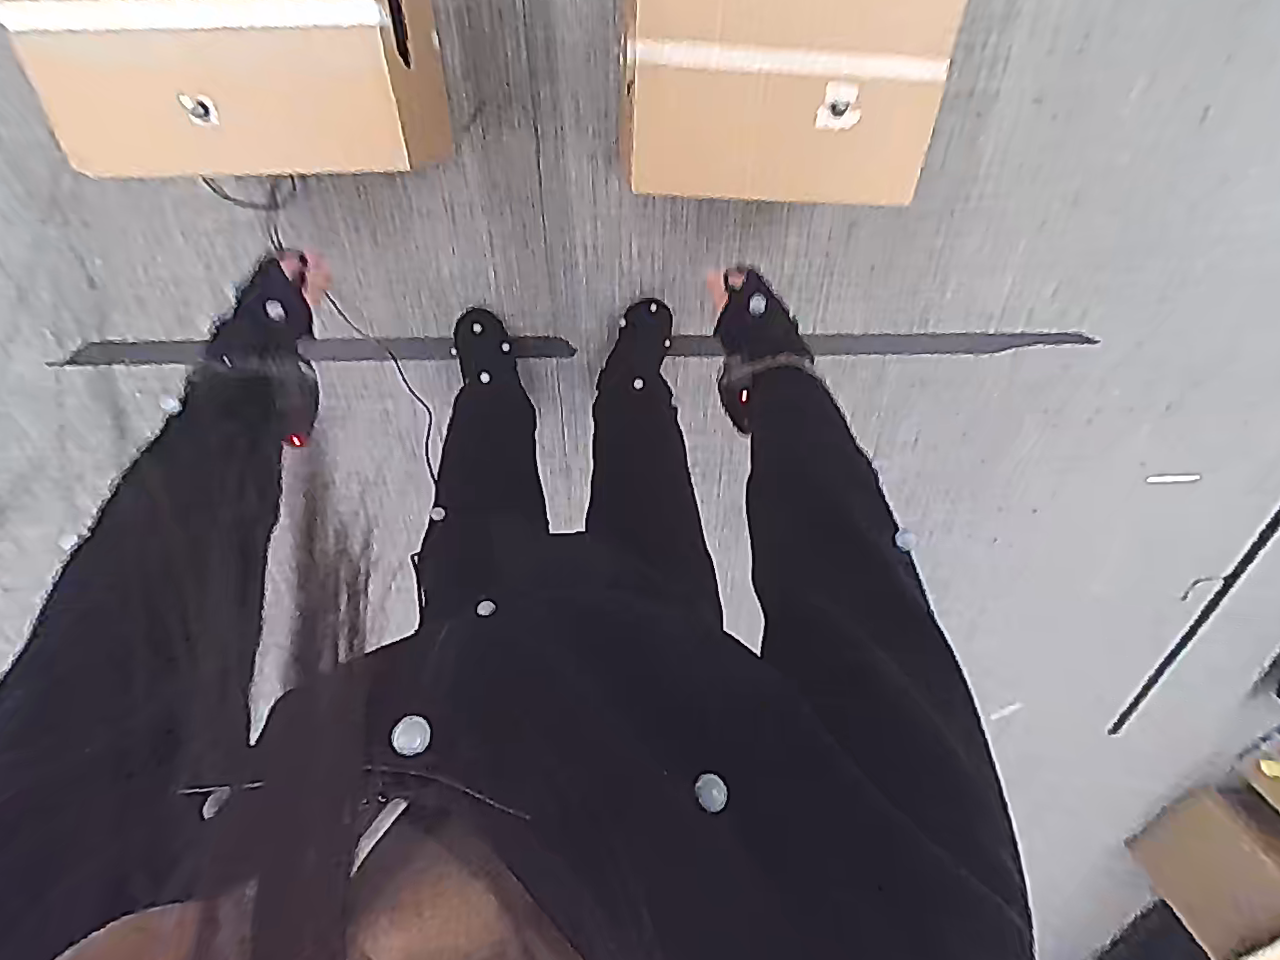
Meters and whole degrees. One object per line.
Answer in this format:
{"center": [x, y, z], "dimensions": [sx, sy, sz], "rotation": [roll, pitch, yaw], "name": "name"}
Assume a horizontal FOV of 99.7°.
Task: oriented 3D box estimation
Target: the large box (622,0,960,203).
{"center": [0.182, -0.608, 0.817], "dimensions": [0.408, 0.320, 0.320], "rotation": [0, 122, -6], "name": "large box"}
